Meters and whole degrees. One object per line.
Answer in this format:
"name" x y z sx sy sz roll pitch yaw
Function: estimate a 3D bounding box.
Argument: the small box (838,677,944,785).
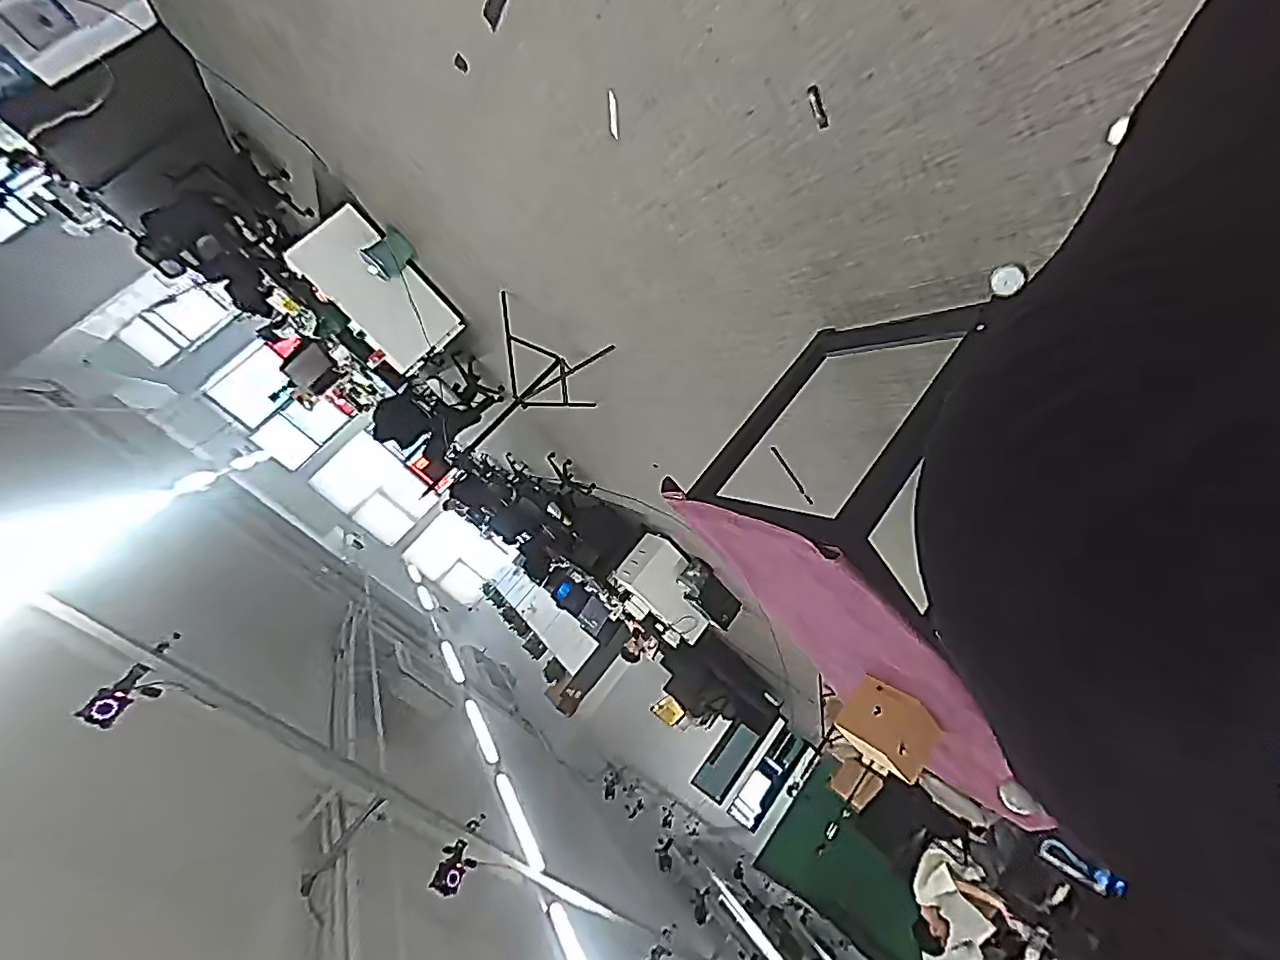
"small box" 0.673 0.663 1.448 0.179 0.176 0.168 48 164 -25
